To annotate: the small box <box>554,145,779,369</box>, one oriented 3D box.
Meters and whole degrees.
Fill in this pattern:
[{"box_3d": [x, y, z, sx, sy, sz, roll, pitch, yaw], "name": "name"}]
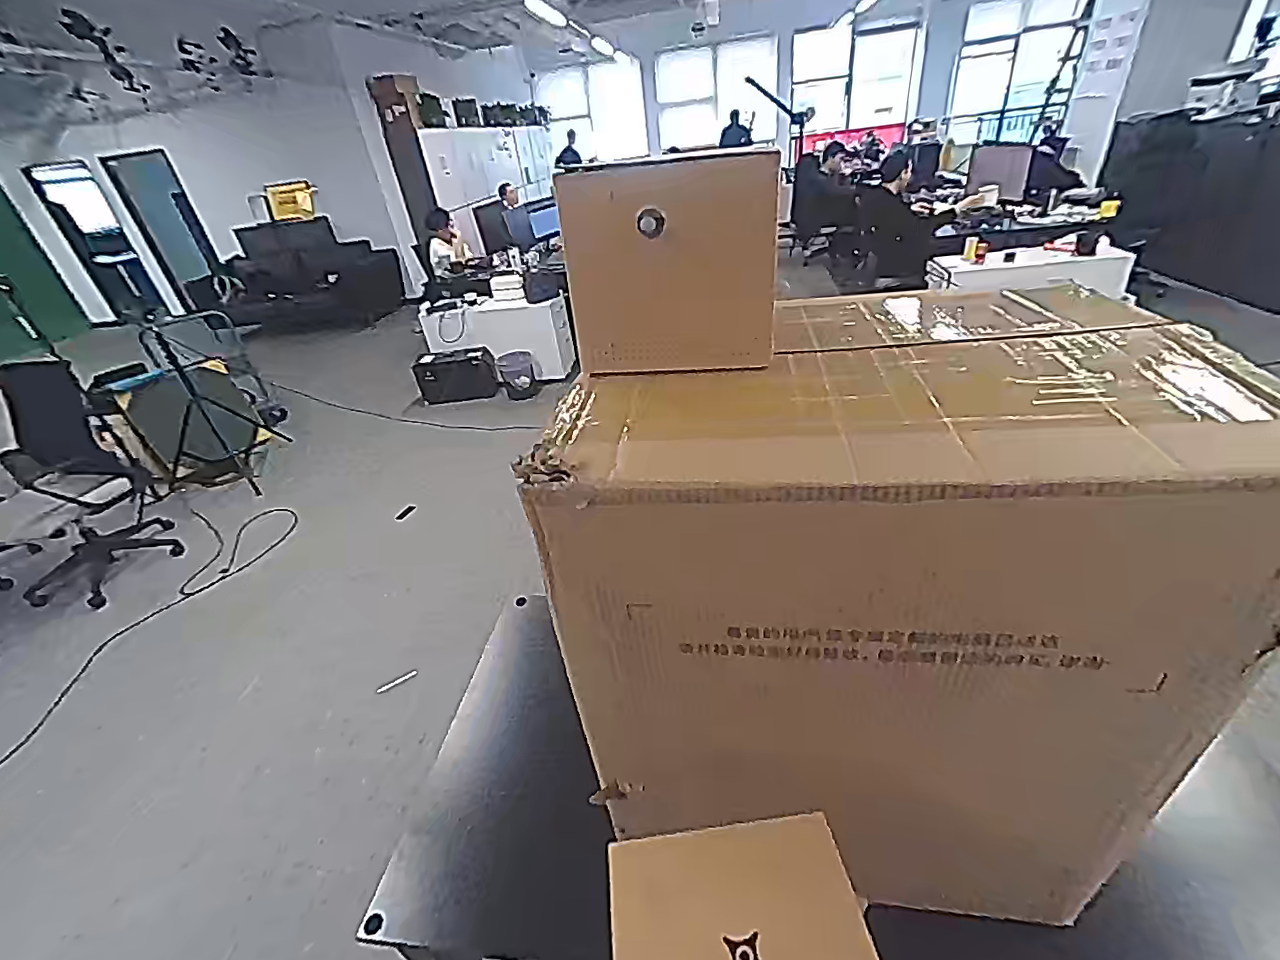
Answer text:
[{"box_3d": [0.036, -0.209, 0.513, 0.179, 0.176, 0.168, 0, 32, 10], "name": "small box"}]
